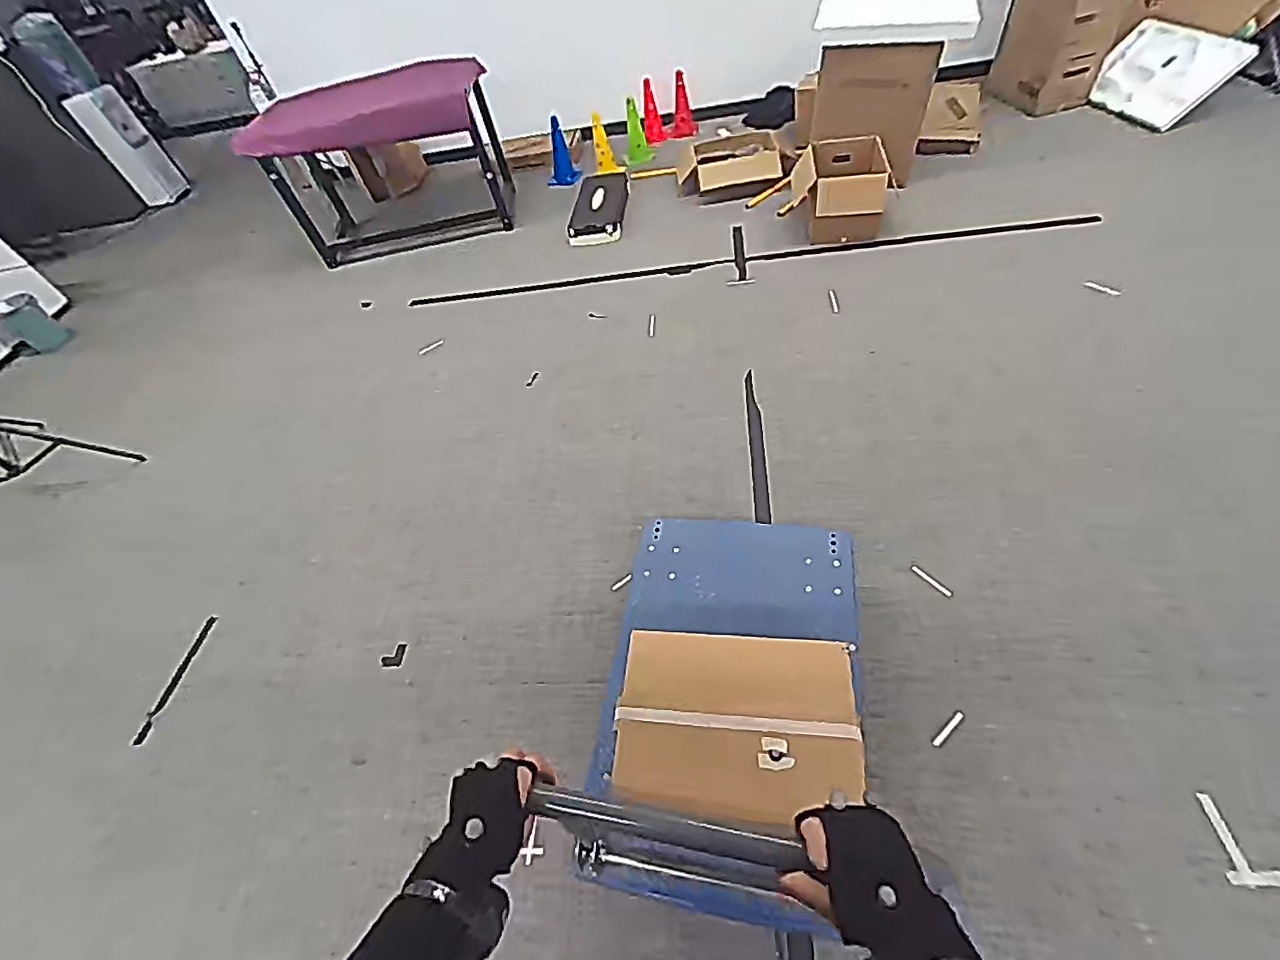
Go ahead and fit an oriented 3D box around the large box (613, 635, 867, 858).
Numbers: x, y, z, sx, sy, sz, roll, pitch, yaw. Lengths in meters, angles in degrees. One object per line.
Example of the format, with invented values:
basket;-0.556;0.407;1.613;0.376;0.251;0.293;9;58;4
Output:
large box;0.182;0.518;1.053;0.408;0.320;0.320;1;52;10
